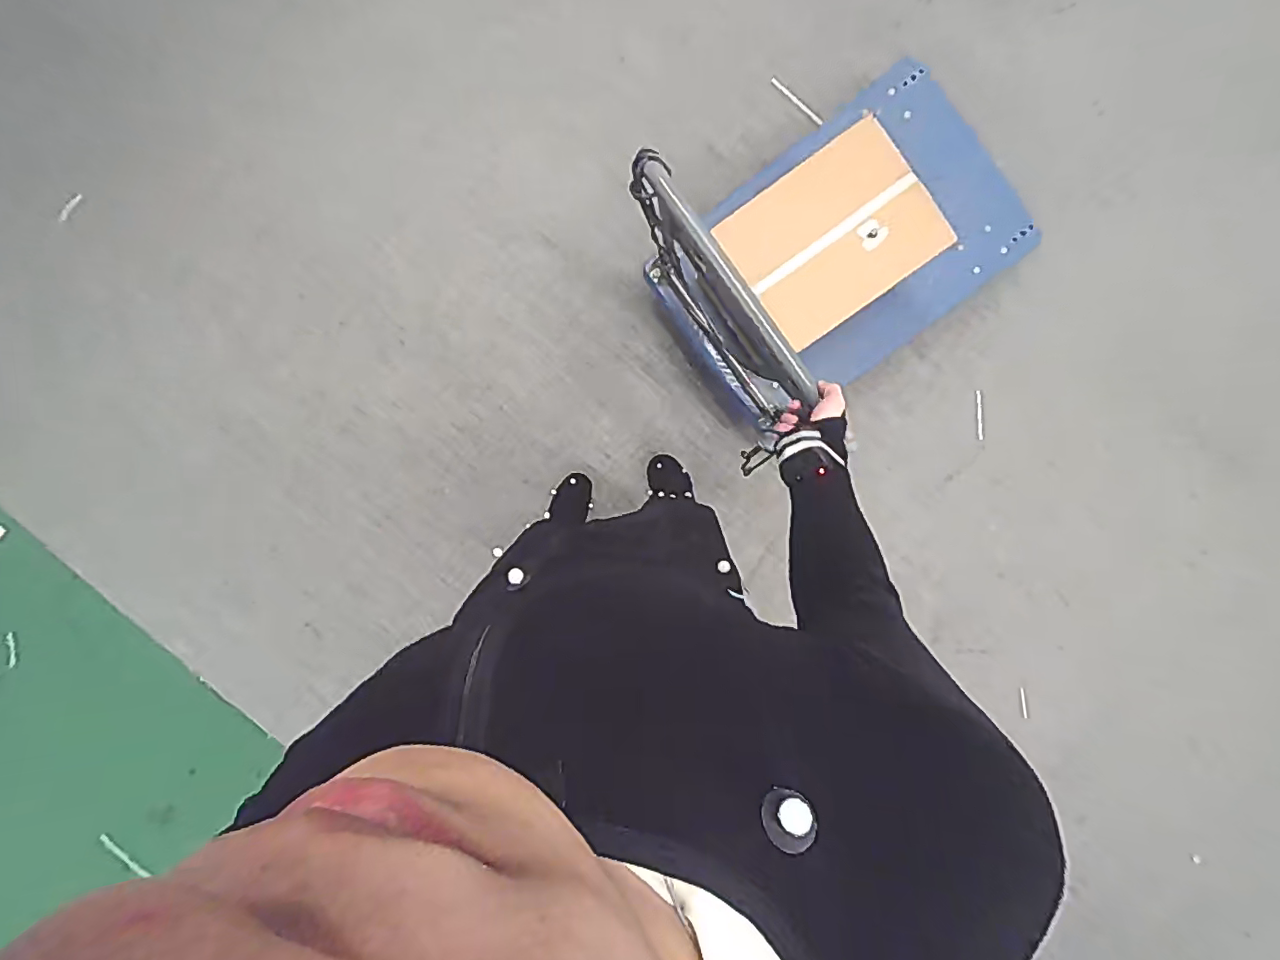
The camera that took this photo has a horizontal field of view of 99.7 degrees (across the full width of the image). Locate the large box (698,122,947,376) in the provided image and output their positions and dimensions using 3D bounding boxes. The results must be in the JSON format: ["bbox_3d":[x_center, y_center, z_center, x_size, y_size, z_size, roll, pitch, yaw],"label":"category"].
[{"bbox_3d":[0.390,-0.501,1.264,0.408,0.320,0.320,-35,92,2],"label":"large box"}]
